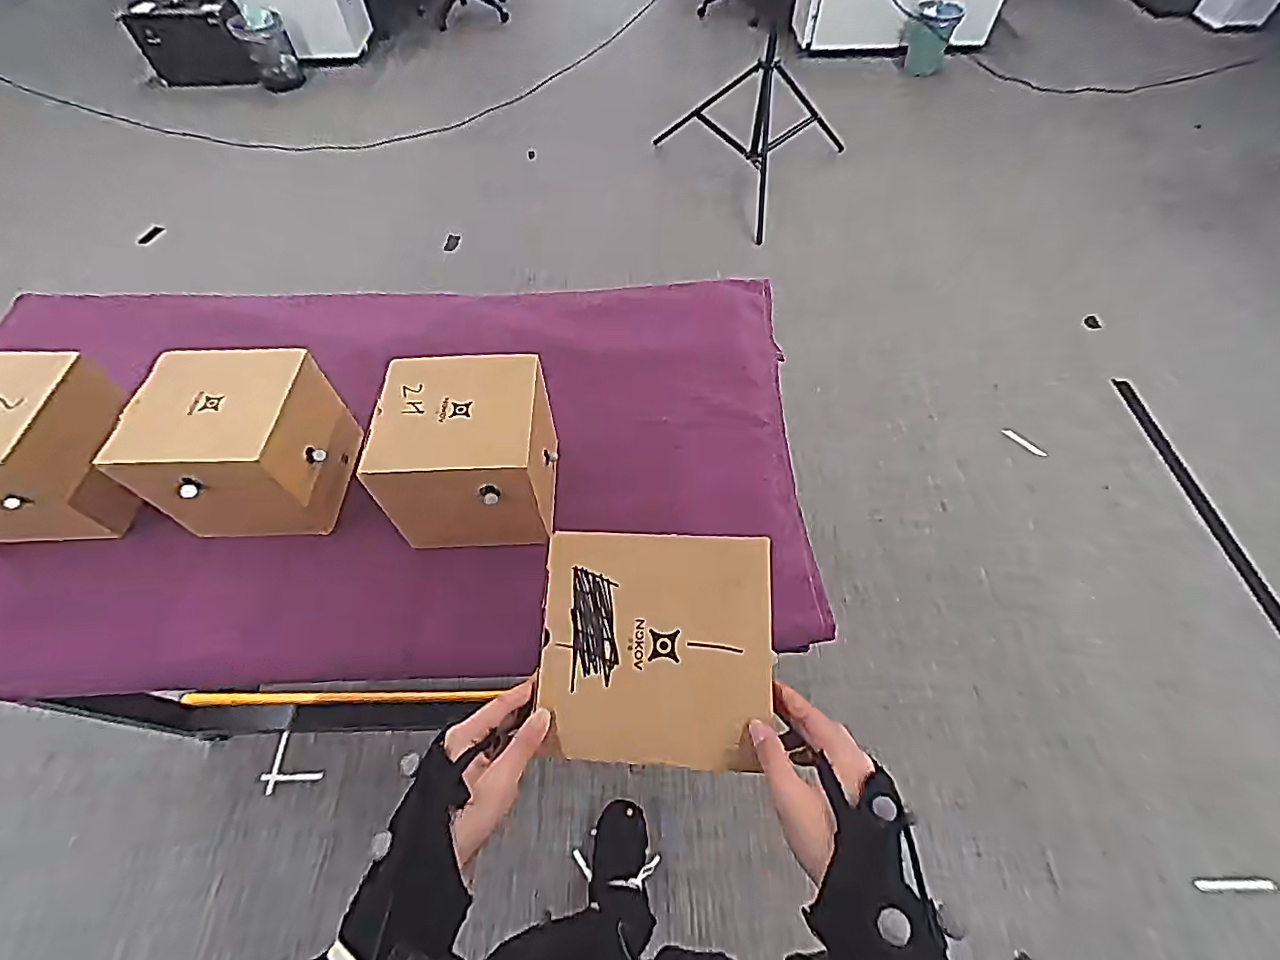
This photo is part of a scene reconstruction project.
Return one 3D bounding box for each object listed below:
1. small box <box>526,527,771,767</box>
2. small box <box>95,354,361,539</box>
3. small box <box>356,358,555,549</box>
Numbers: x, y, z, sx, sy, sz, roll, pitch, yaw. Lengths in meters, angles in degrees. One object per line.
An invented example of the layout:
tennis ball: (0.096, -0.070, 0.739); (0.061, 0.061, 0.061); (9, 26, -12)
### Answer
small box: (0.017, 0.141, 0.477); (0.179, 0.176, 0.168); (1, 72, 6)
small box: (-0.480, -0.036, 0.669); (0.179, 0.176, 0.168); (-2, 57, 0)
small box: (-0.202, -0.027, 0.654); (0.179, 0.176, 0.168); (-3, 55, 0)
